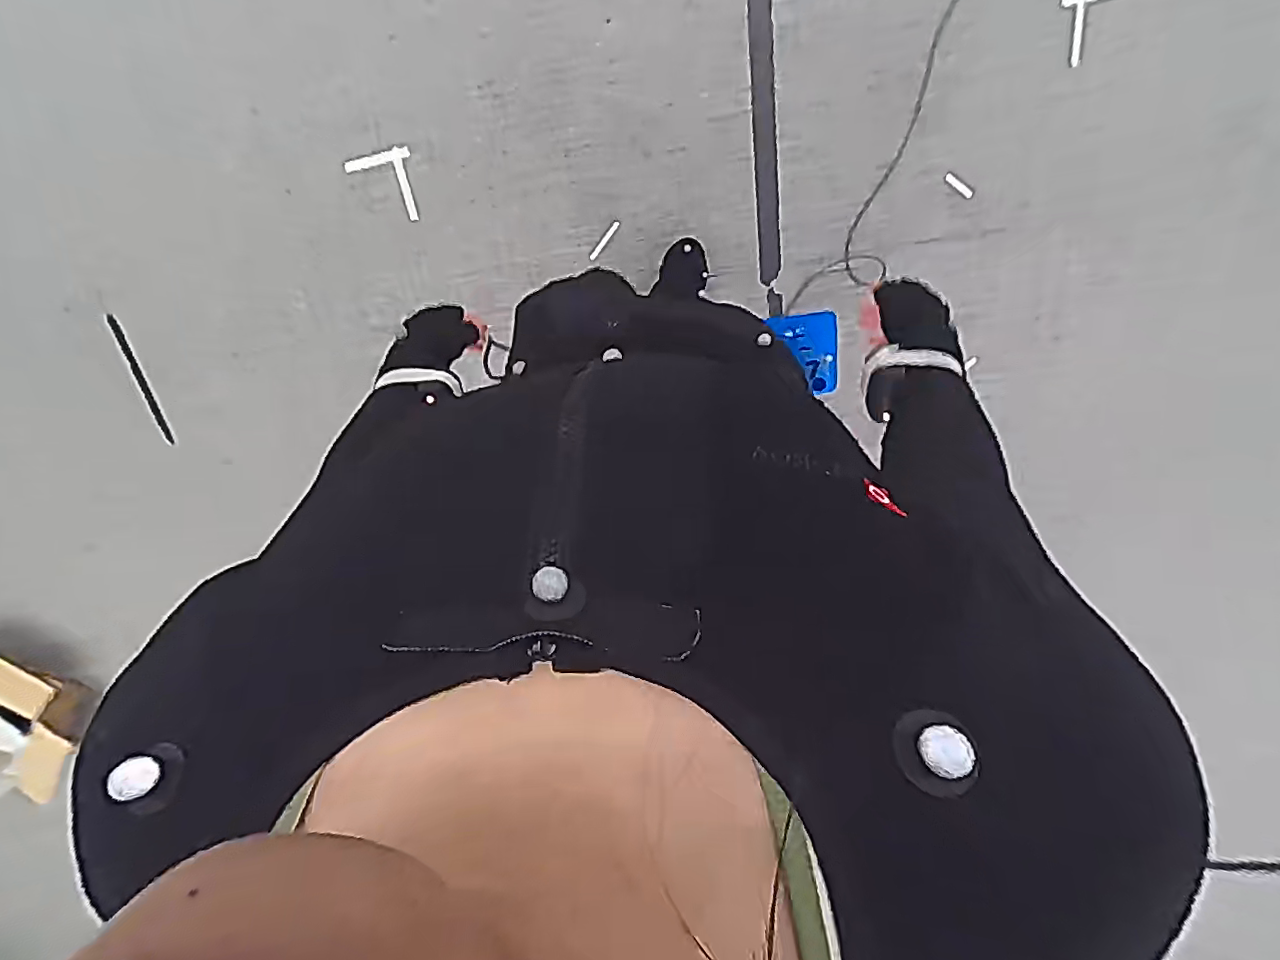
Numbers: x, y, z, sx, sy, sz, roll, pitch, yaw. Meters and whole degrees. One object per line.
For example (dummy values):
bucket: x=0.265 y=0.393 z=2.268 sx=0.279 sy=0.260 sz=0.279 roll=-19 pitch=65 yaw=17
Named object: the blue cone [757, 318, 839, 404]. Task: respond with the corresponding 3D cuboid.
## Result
blue cone: x=0.365 y=-0.234 z=1.170 sx=0.193 sy=0.380 sz=0.192 roll=-6 pitch=110 yaw=10
